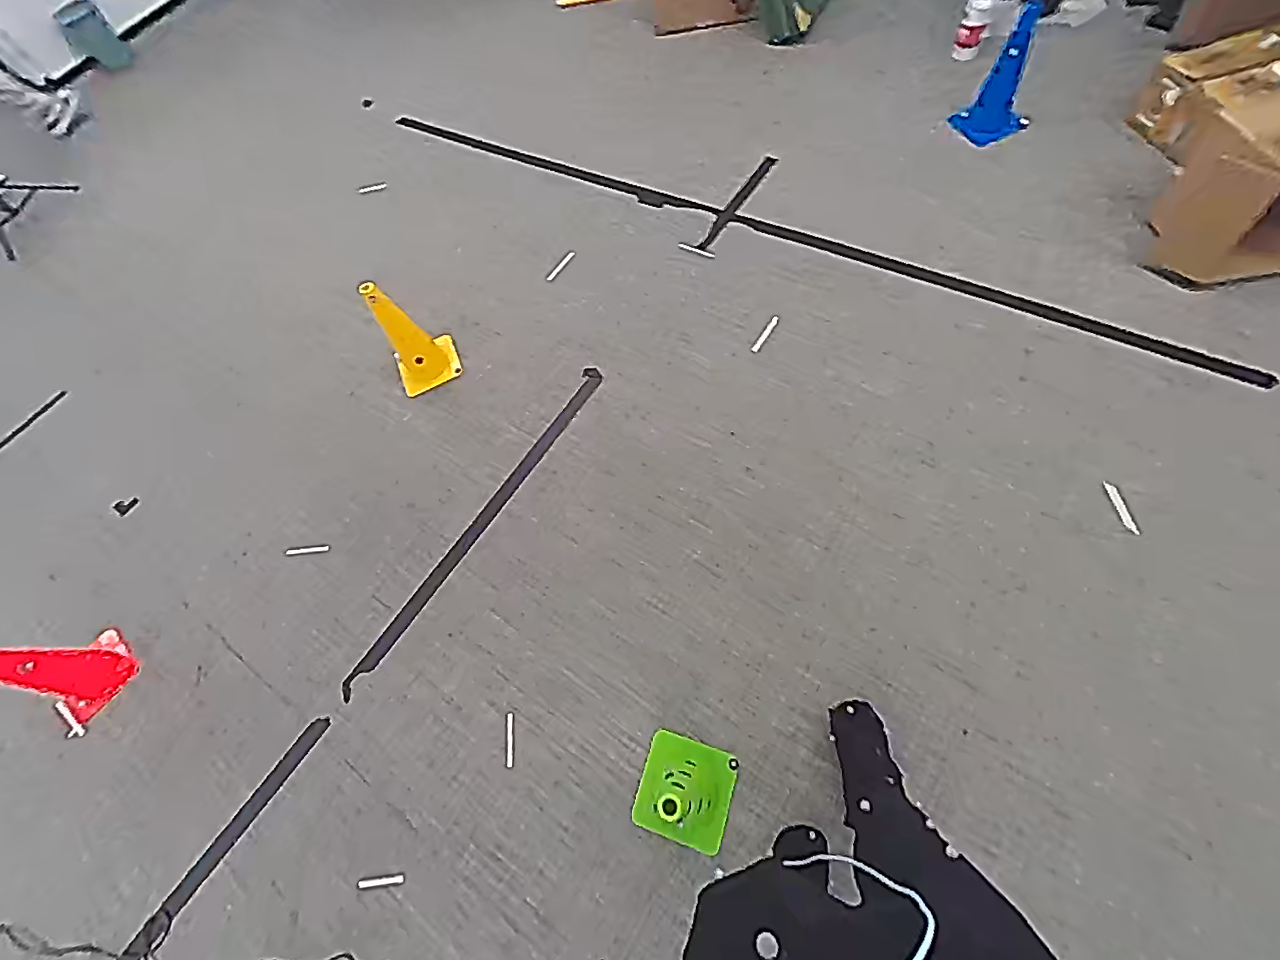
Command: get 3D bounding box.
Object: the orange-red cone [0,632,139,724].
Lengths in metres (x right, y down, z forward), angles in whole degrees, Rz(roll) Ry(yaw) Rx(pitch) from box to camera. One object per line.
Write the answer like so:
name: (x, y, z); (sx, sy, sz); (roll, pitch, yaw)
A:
orange-red cone: (-1.576, 0.486, 1.397); (0.198, 0.360, 0.199); (36, 74, 23)

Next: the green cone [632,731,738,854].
green cone: (0.070, 0.612, 1.040); (0.200, 0.368, 0.202); (13, 68, 16)
